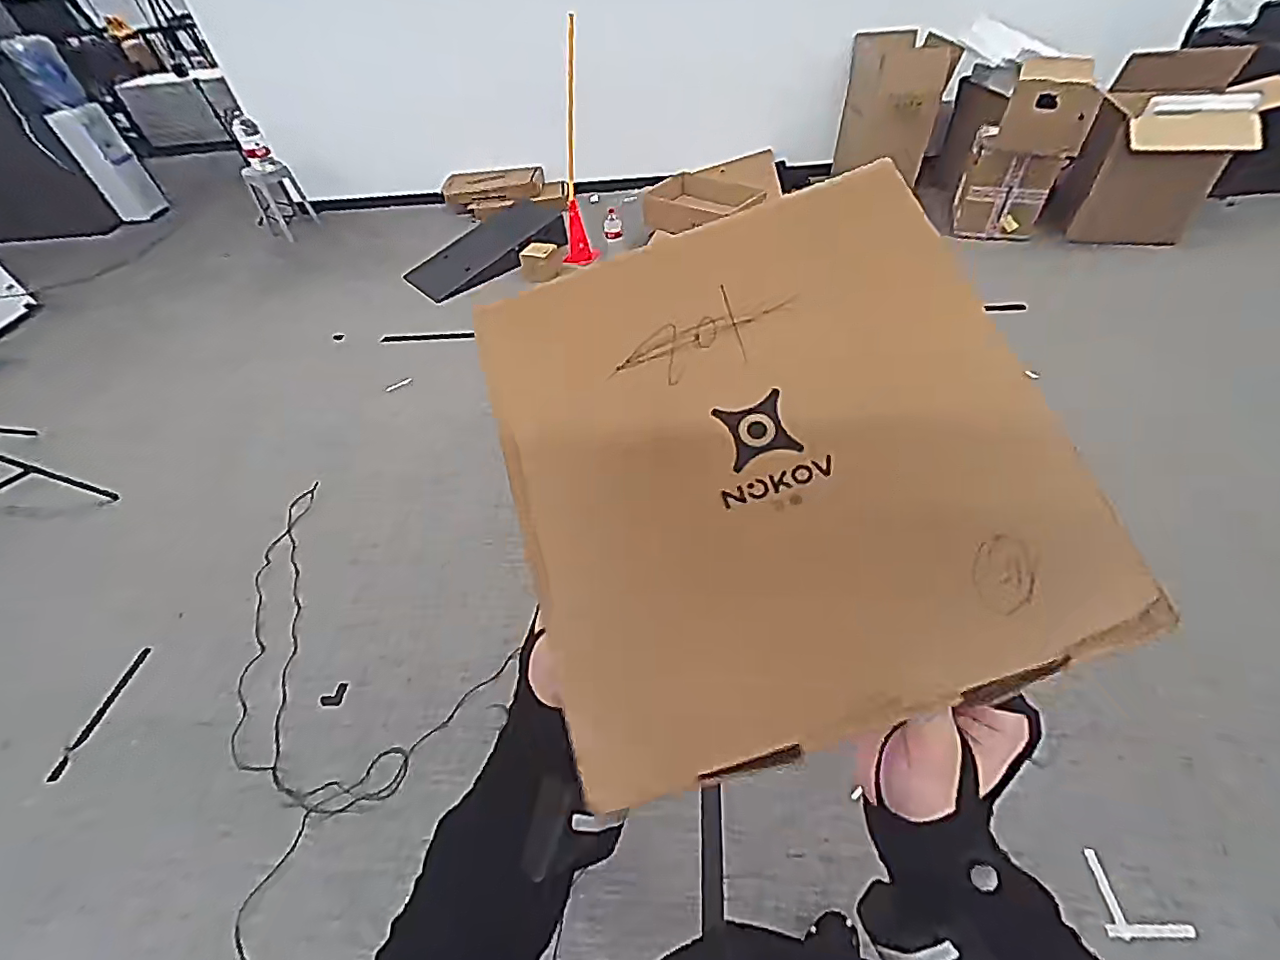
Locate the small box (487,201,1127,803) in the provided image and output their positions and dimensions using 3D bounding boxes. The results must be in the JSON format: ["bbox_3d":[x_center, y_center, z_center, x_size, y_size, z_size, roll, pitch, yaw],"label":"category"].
[{"bbox_3d":[0.052,0.018,0.261,0.168,0.176,0.179,-20,70,1],"label":"small box"}]
